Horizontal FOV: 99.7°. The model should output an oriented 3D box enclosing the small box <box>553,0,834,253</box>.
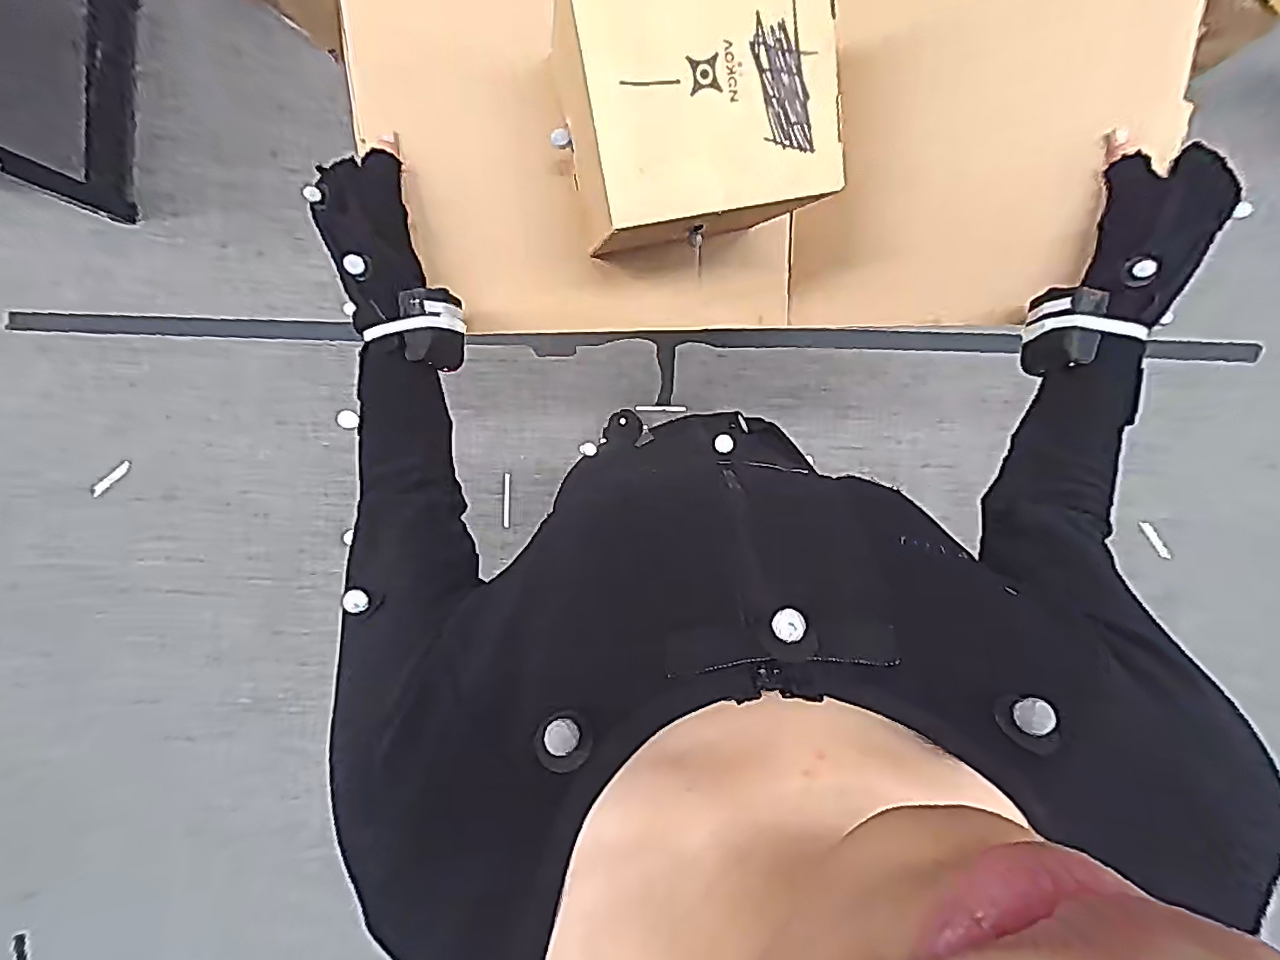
[{"bbox_3d":[0.033,-0.292,0.442,0.179,0.176,0.168,-13,108,-7],"label":"small box"}]
